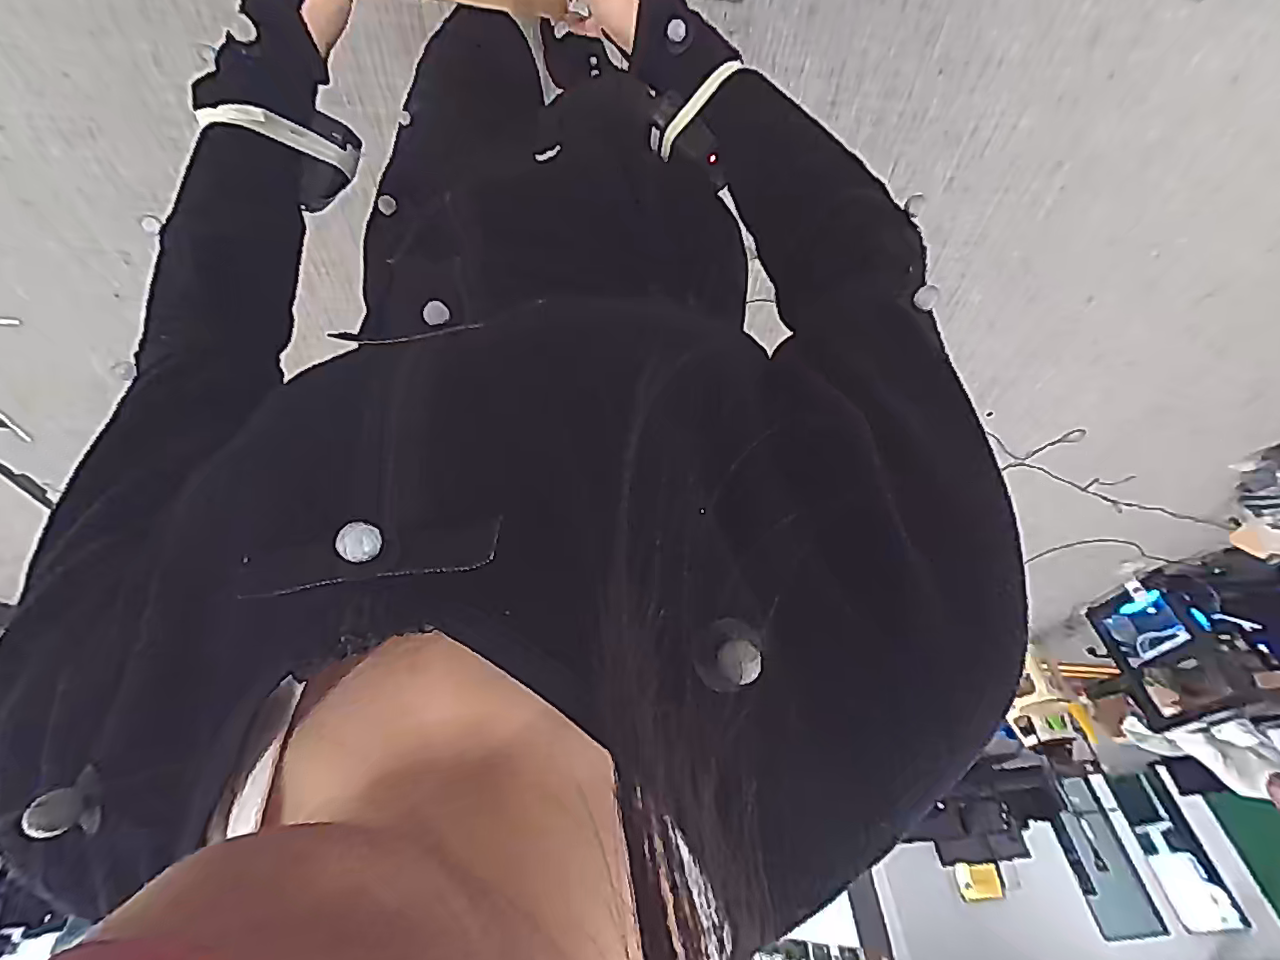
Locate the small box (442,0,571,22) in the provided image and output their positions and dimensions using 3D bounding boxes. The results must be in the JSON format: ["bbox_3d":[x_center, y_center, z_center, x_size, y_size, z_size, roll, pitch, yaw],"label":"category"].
[{"bbox_3d":[-0.136,-0.486,0.396,0.168,0.176,0.179,-4,147,-16],"label":"small box"}]
